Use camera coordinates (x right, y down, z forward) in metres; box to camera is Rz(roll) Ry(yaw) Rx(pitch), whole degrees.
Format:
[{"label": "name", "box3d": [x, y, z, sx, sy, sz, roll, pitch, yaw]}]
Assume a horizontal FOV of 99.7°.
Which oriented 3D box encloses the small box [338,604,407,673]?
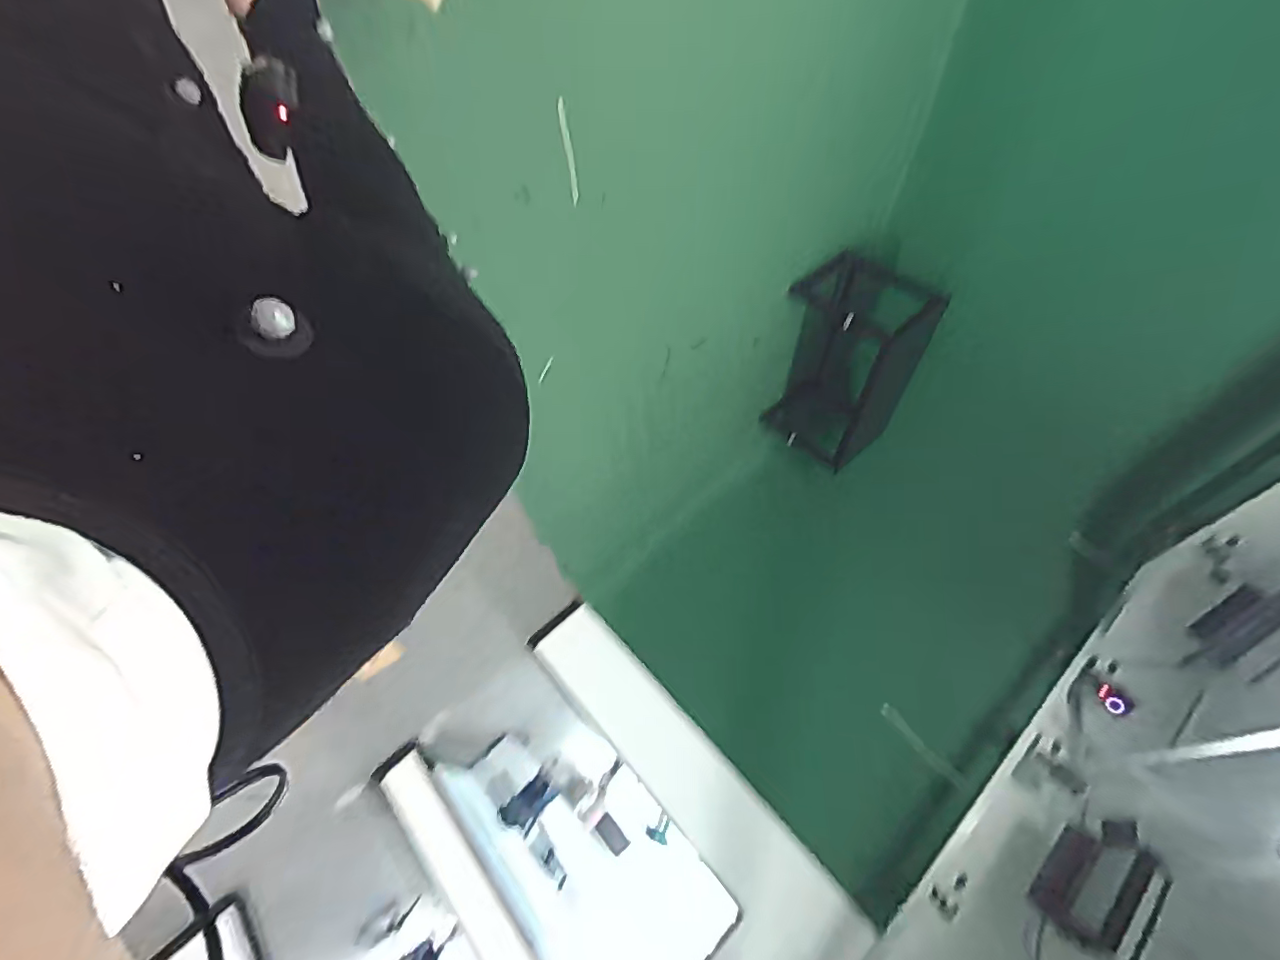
[{"label": "small box", "box3d": [-1.058, 0.622, 2.139, 0.168, 0.176, 0.179, -31, 148, -25]}]
